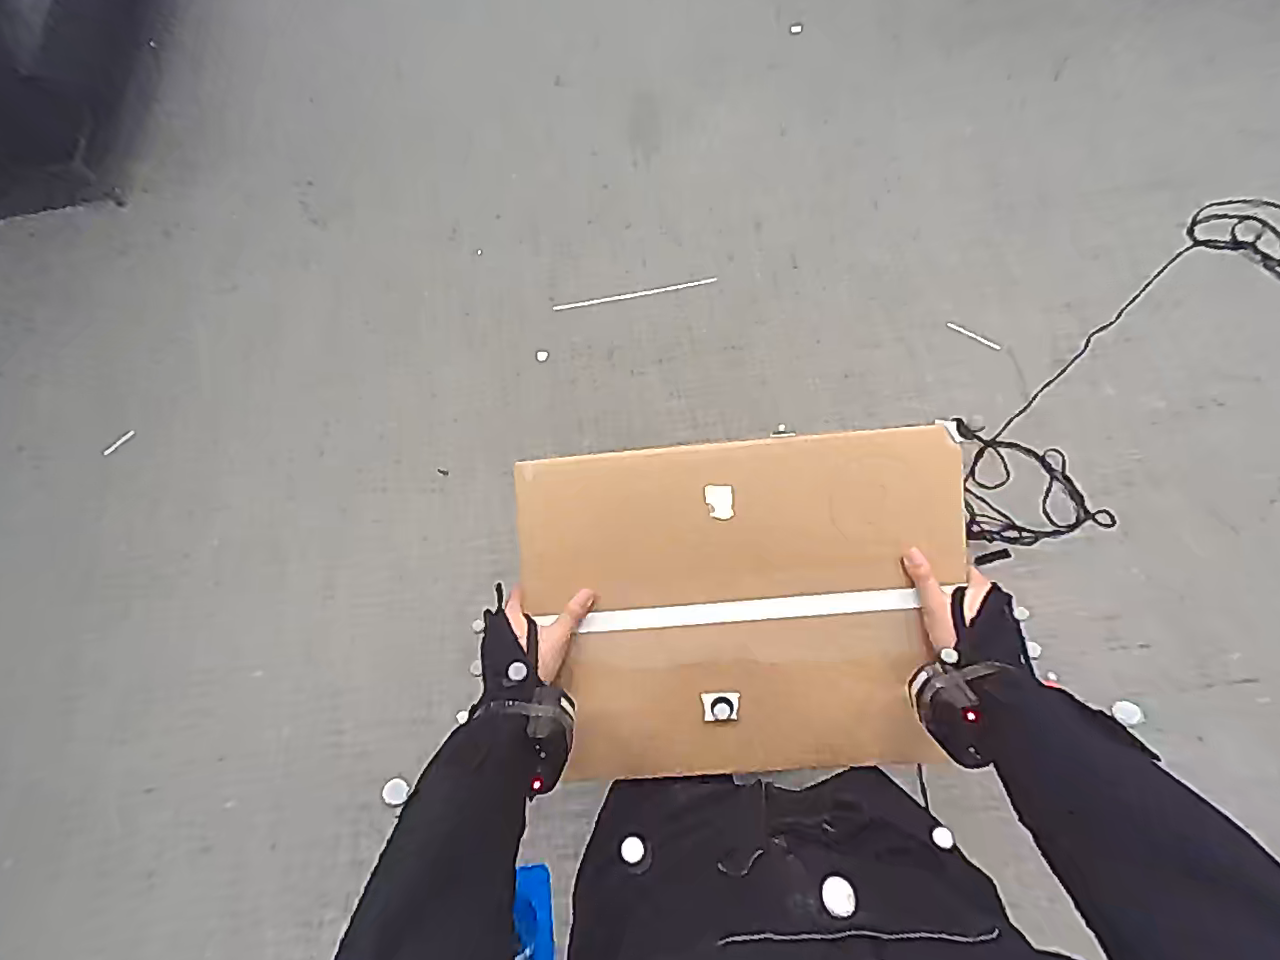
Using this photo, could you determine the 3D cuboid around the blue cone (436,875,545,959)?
[{"bbox_3d":[-0.299,0.827,0.904,0.192,0.380,0.193,-8,68,5],"label":"blue cone"}]
